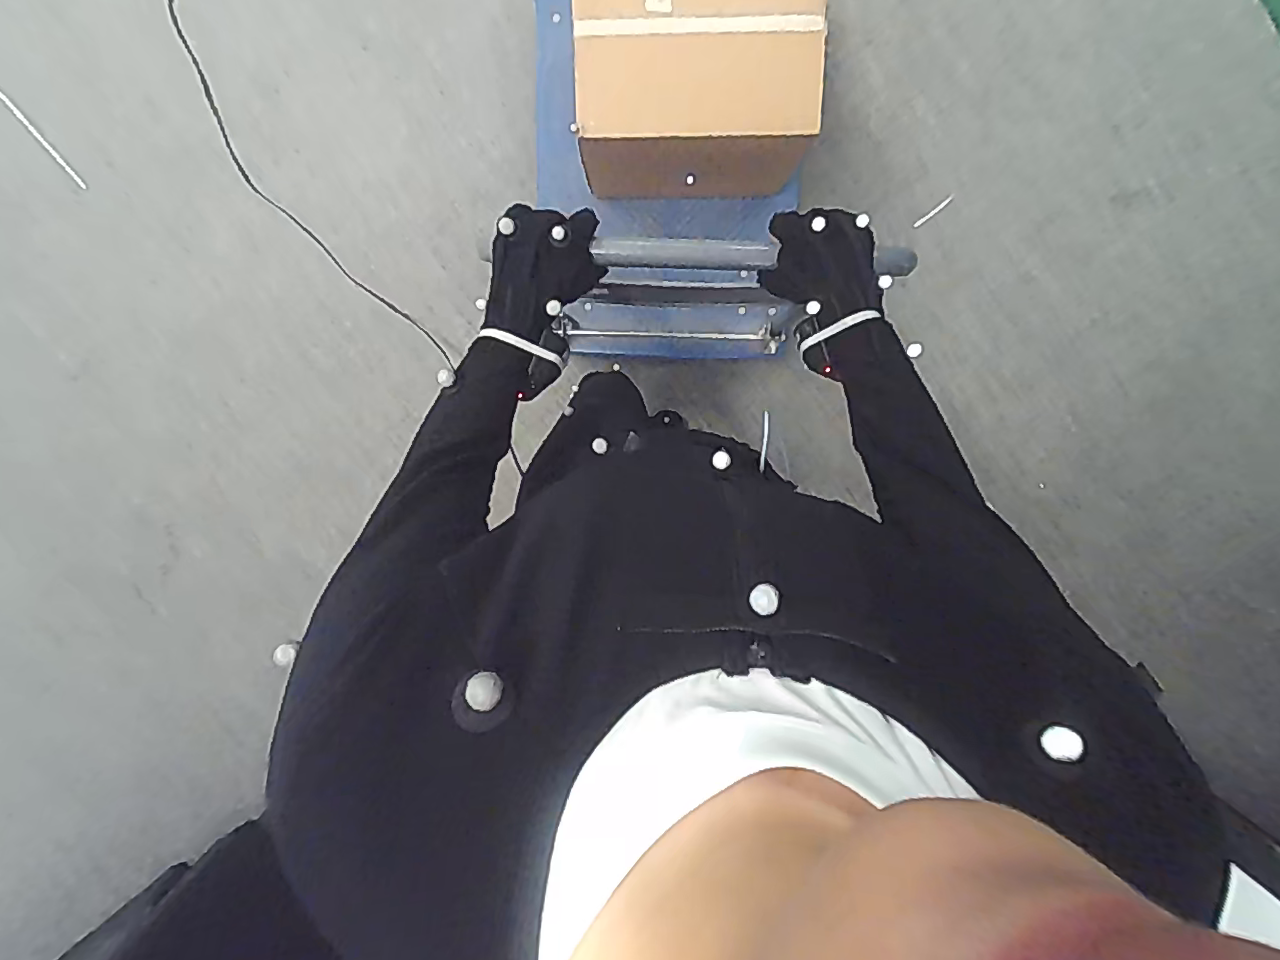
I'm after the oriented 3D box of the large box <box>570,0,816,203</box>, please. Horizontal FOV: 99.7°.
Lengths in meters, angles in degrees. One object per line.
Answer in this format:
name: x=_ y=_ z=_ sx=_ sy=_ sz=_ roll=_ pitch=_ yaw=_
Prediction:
large box: x=0.090 y=-0.738 z=1.024 sx=0.408 sy=0.320 sz=0.320 roll=-1 pitch=100 yaw=0
